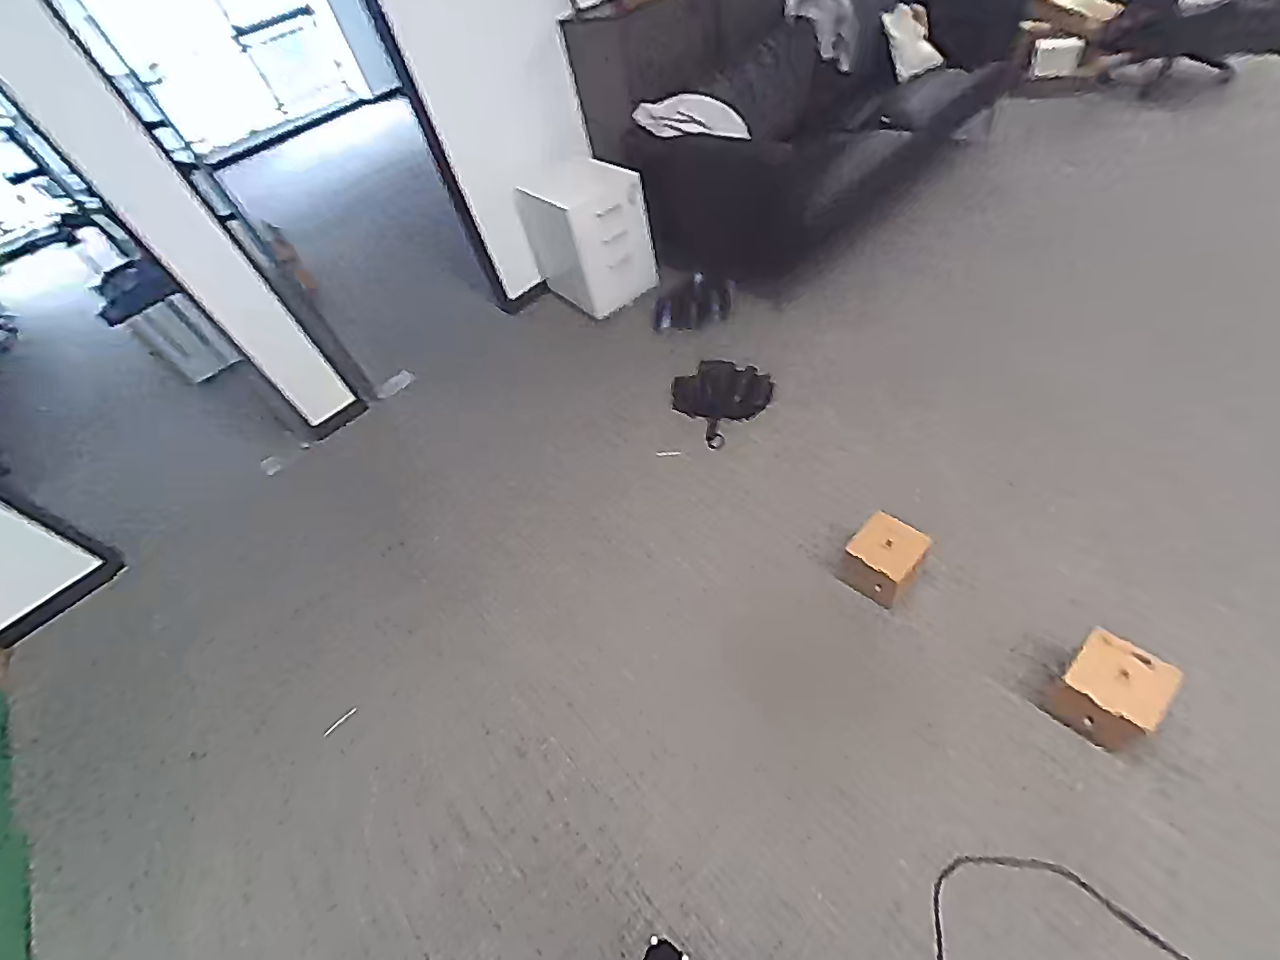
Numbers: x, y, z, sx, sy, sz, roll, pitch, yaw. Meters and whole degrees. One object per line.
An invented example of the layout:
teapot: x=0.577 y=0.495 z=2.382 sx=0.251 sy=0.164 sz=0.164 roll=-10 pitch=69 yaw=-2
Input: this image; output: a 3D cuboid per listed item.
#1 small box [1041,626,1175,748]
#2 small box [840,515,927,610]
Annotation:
small box: x=1.071 y=0.485 z=1.254 sx=0.179 sy=0.176 sz=0.168 roll=-41 pitch=51 yaw=-20
small box: x=0.702 y=0.244 z=1.577 sx=0.179 sy=0.176 sz=0.168 roll=-41 pitch=52 yaw=-22
